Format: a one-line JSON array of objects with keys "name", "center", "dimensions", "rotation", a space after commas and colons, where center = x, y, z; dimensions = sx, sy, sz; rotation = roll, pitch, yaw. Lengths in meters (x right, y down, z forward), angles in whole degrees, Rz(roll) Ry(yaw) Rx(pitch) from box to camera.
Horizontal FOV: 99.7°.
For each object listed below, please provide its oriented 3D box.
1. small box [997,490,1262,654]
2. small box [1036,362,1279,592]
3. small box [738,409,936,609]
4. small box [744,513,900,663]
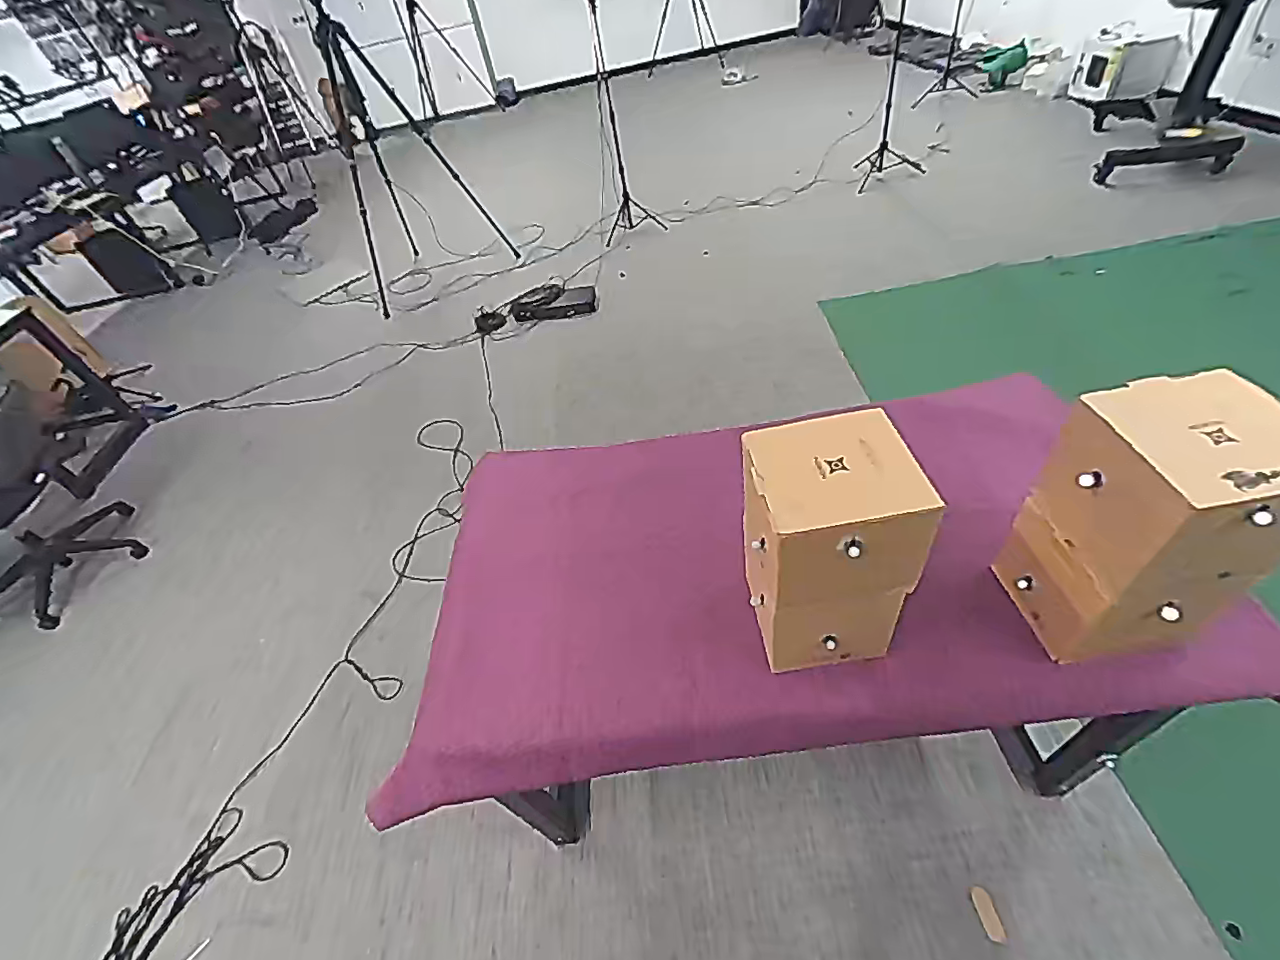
[{"name": "small box", "center": [0.627, 0.112, 0.726], "dimensions": [0.179, 0.176, 0.168], "rotation": [-13, 46, 5]}, {"name": "small box", "center": [0.597, -0.001, 0.611], "dimensions": [0.168, 0.176, 0.179], "rotation": [-13, 45, 6]}, {"name": "small box", "center": [0.229, 0.041, 0.668], "dimensions": [0.179, 0.176, 0.168], "rotation": [-11, 46, 4]}, {"name": "small box", "center": [0.254, 0.150, 0.787], "dimensions": [0.168, 0.176, 0.179], "rotation": [-11, 44, 4]}]
